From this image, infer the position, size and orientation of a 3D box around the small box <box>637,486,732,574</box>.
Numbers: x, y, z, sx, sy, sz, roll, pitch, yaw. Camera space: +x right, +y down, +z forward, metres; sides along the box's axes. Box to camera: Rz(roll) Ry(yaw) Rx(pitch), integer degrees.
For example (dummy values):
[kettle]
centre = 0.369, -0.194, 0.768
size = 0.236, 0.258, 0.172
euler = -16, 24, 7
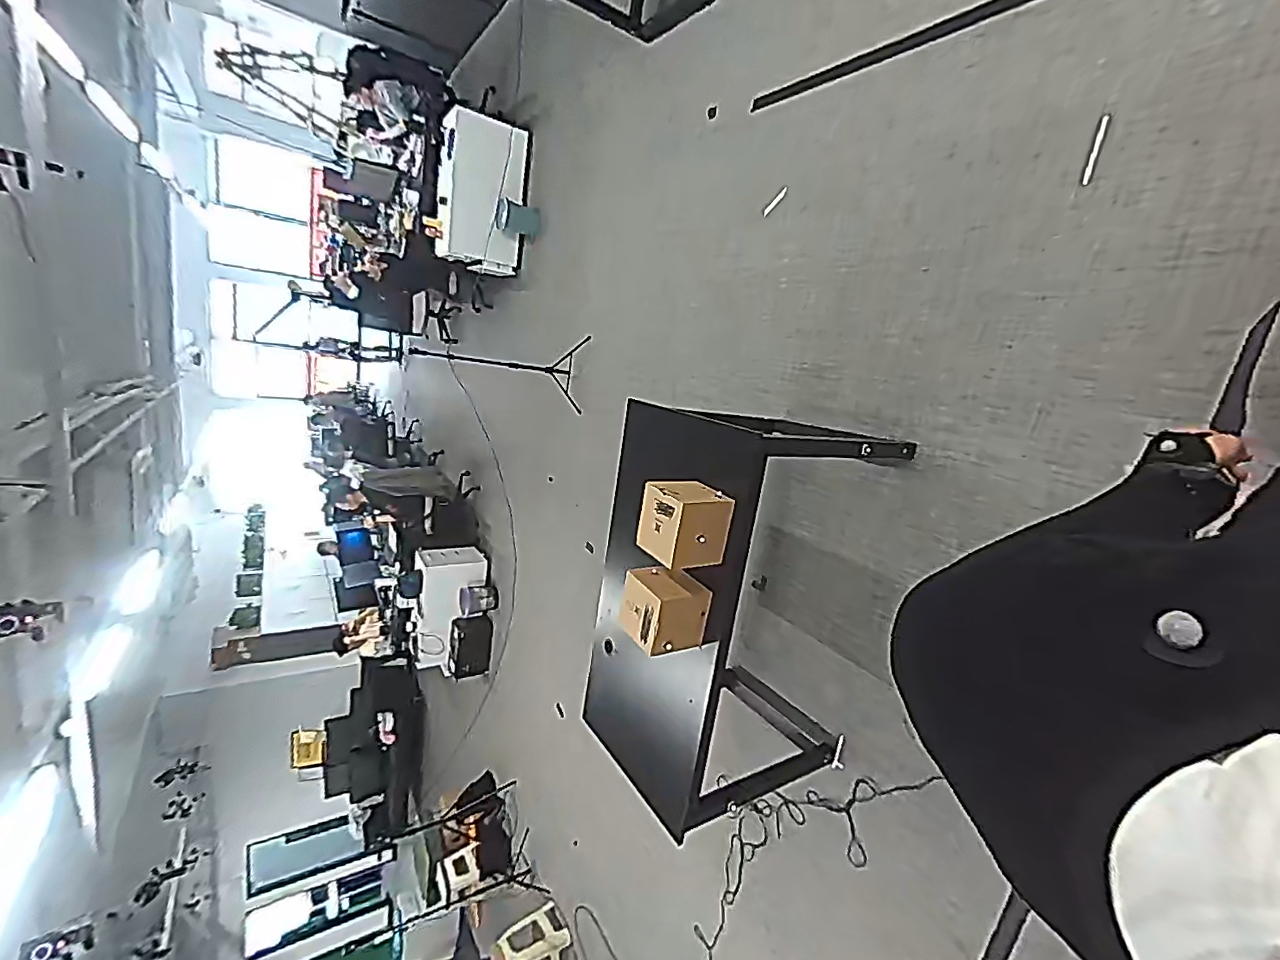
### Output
[small box]
centre = 0.116, 0.120, 1.389
size = 0.168, 0.176, 0.179
euler = 30, 116, 53
